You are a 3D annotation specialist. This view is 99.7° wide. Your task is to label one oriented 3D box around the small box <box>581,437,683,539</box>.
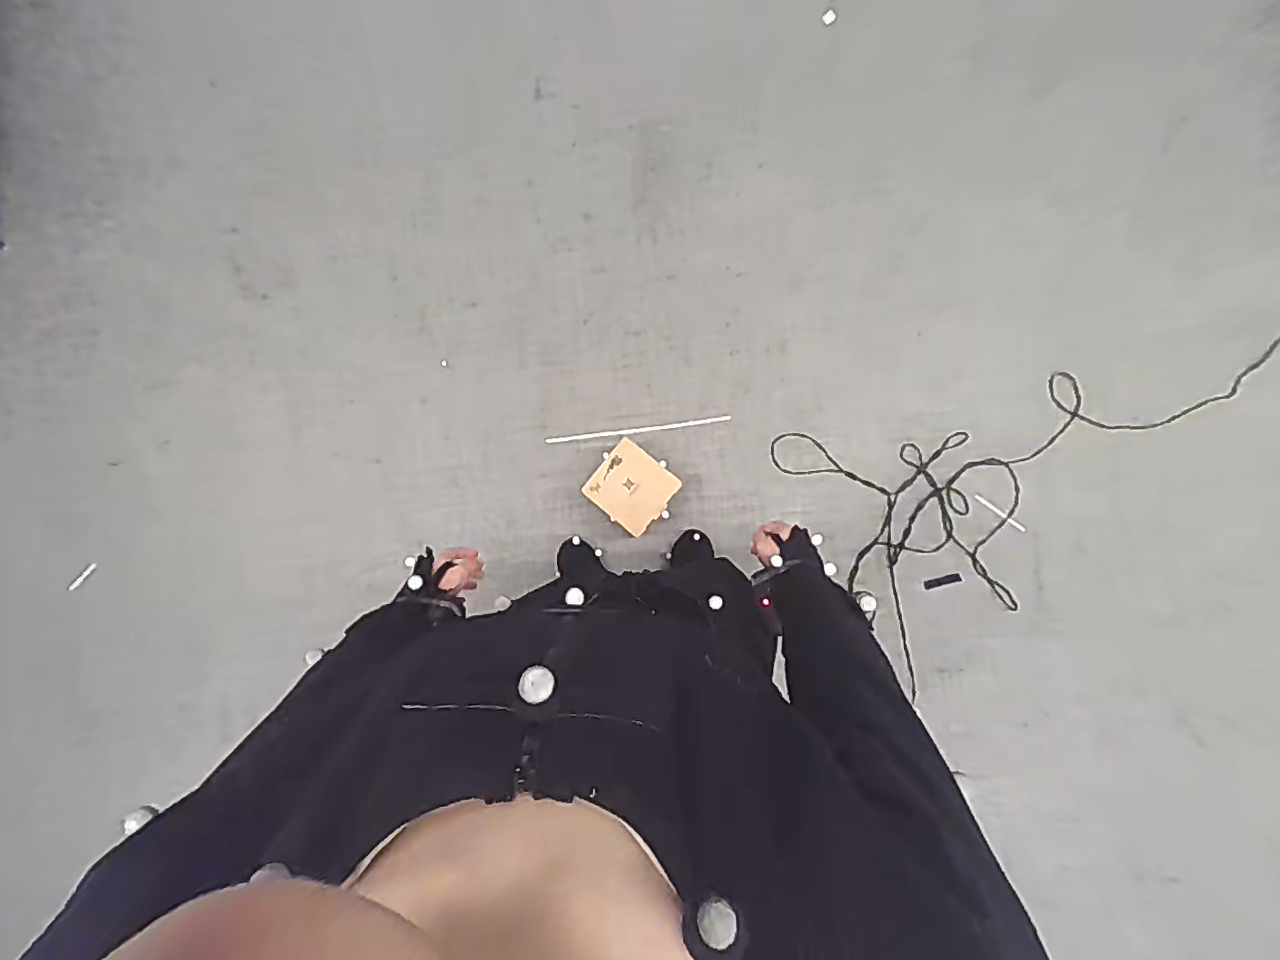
[{"bbox_3d":[-0.013,0.020,1.297,0.179,0.176,0.168,40,90,6],"label":"small box"}]
